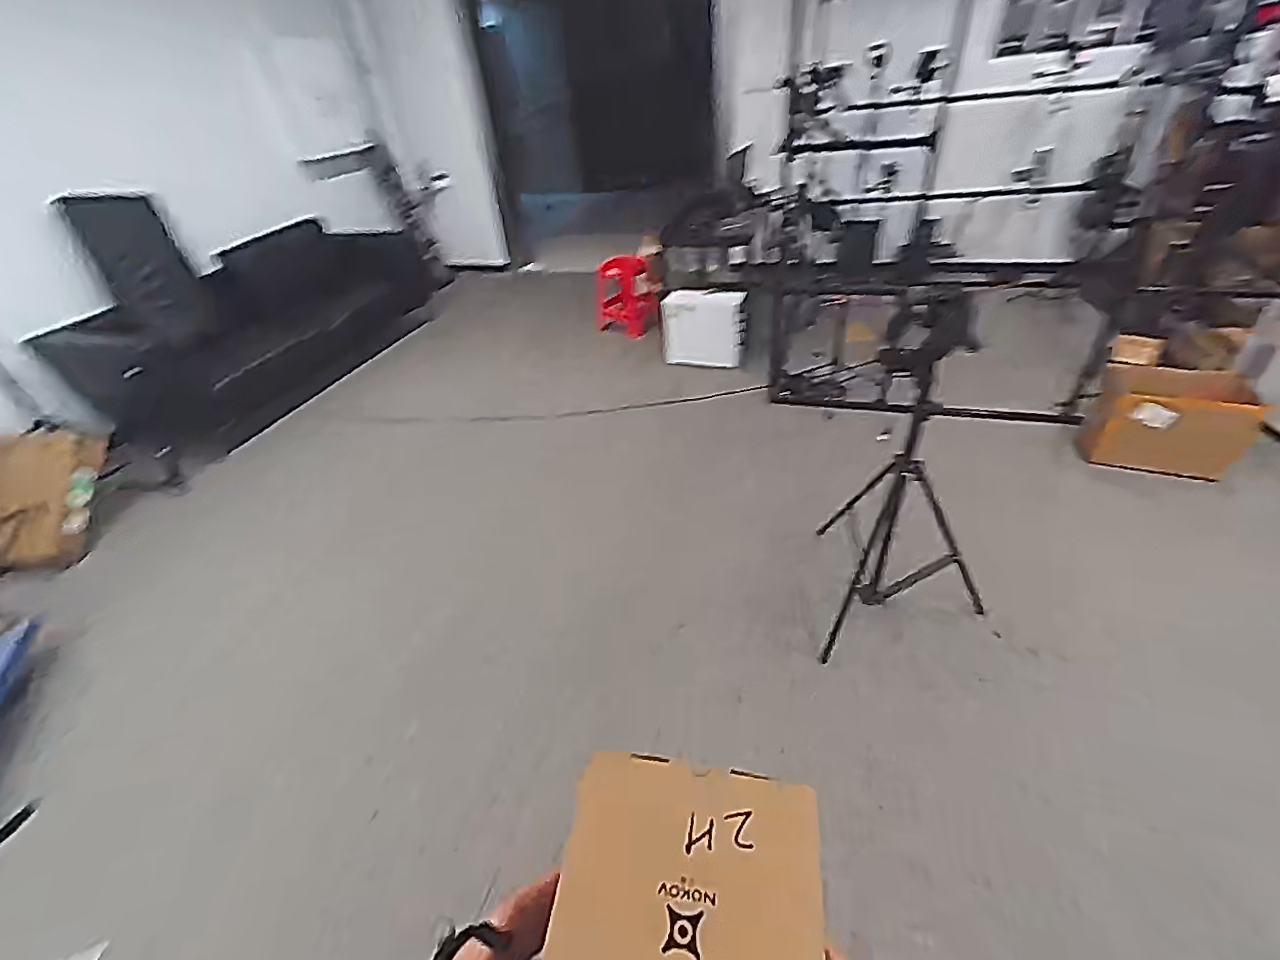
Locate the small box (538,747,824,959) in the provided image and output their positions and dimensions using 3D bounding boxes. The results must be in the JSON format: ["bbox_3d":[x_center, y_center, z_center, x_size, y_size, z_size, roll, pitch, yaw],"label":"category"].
[{"bbox_3d":[0.030,0.321,0.382,0.168,0.176,0.179,6,44,8],"label":"small box"}]
